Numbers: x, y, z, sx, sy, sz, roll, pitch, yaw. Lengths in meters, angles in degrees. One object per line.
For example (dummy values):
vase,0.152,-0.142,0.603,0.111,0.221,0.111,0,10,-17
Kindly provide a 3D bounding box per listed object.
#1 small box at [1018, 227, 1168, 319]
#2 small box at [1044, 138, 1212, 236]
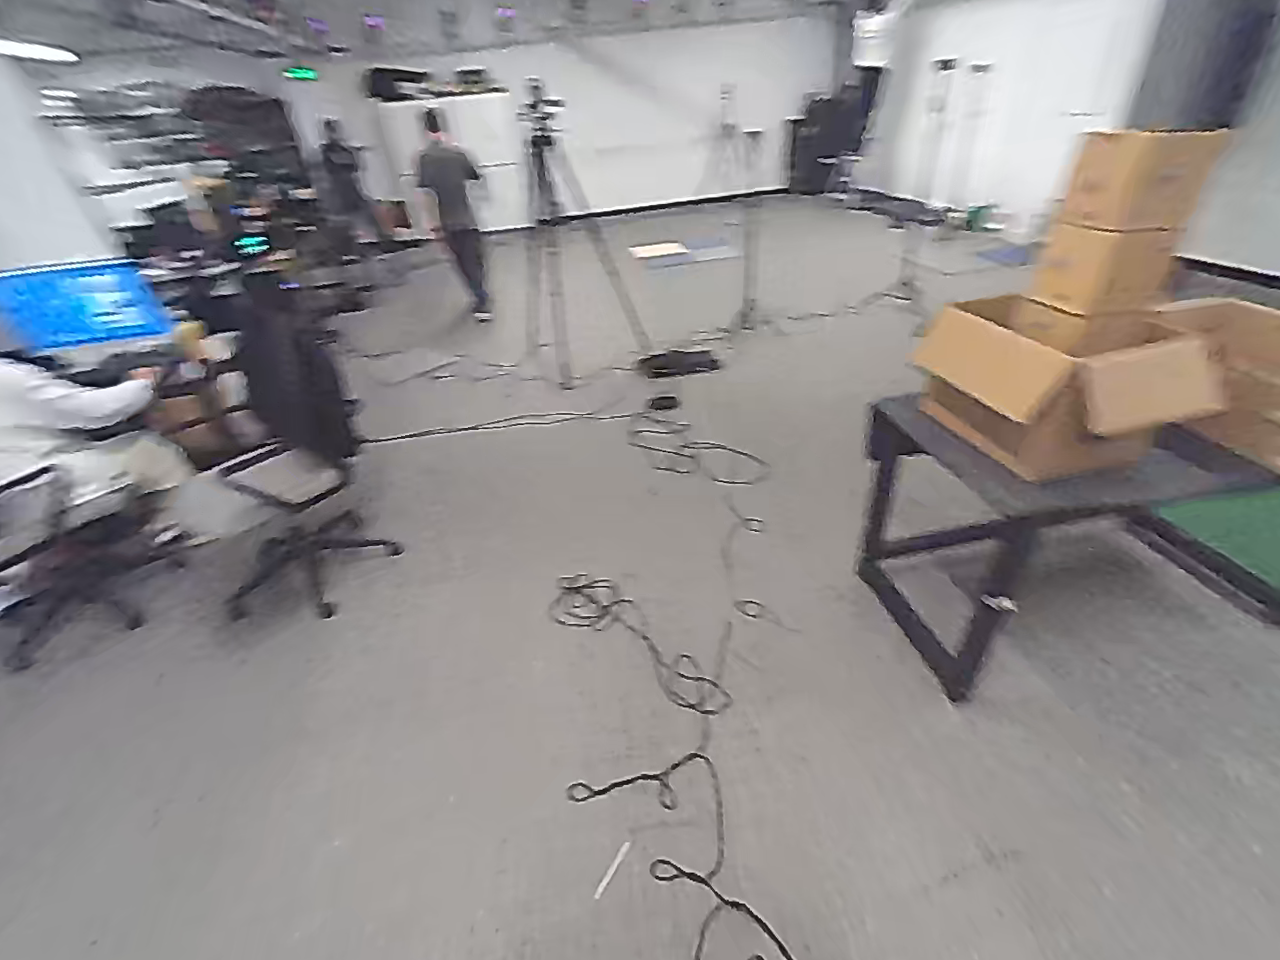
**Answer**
small box,0.983,-0.461,1.199,0.179,0.176,0.168,-6,33,-8
small box,0.981,-0.601,1.112,0.179,0.176,0.168,-5,33,-7
